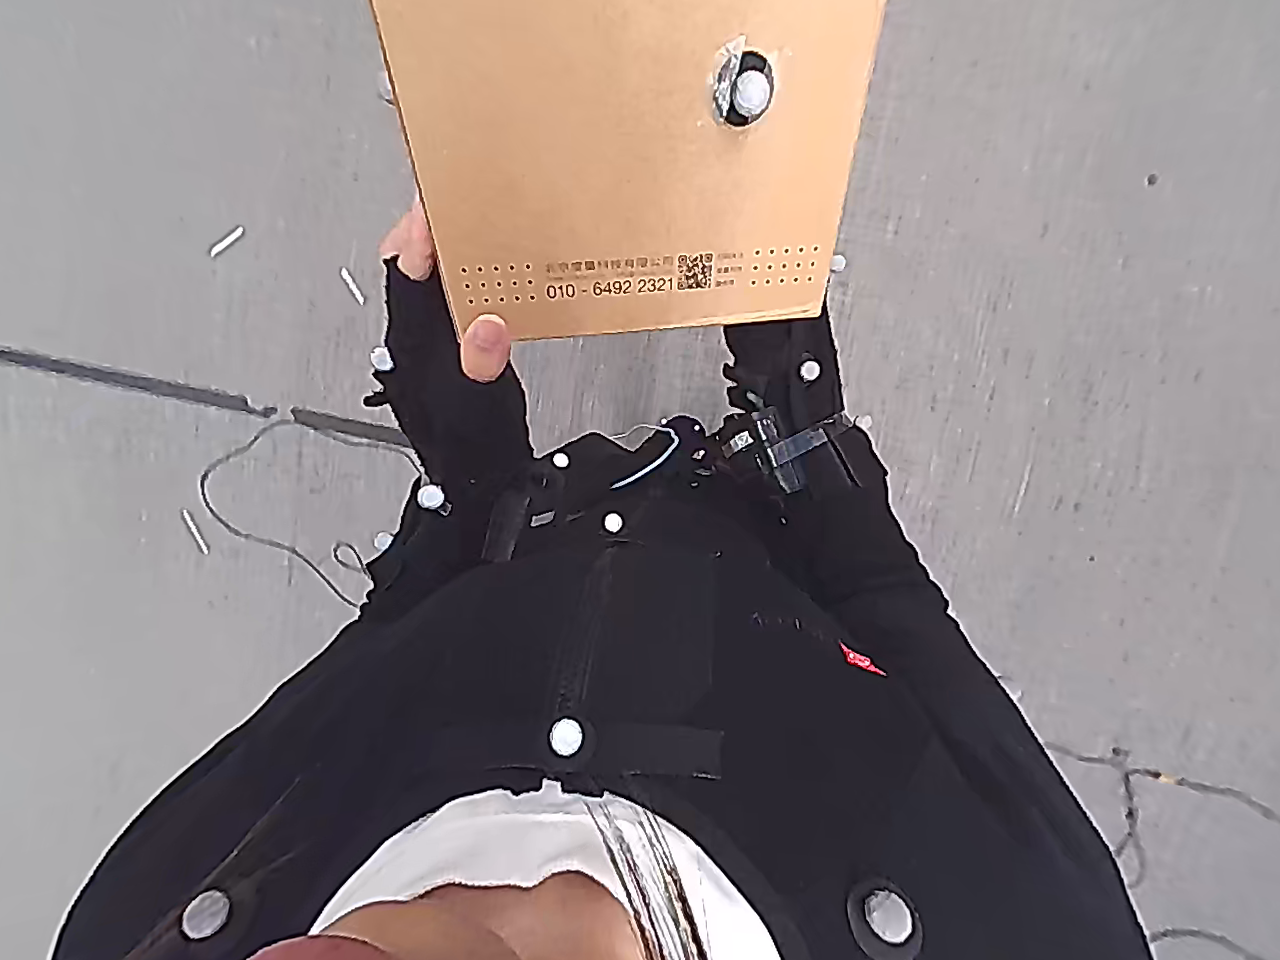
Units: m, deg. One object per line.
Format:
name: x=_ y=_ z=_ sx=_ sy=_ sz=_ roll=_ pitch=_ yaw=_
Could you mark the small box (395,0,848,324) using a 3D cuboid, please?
small box: x=-0.009 y=-0.188 z=0.274 sx=0.168 sy=0.179 sz=0.176 roll=-6 pitch=131 yaw=-5
